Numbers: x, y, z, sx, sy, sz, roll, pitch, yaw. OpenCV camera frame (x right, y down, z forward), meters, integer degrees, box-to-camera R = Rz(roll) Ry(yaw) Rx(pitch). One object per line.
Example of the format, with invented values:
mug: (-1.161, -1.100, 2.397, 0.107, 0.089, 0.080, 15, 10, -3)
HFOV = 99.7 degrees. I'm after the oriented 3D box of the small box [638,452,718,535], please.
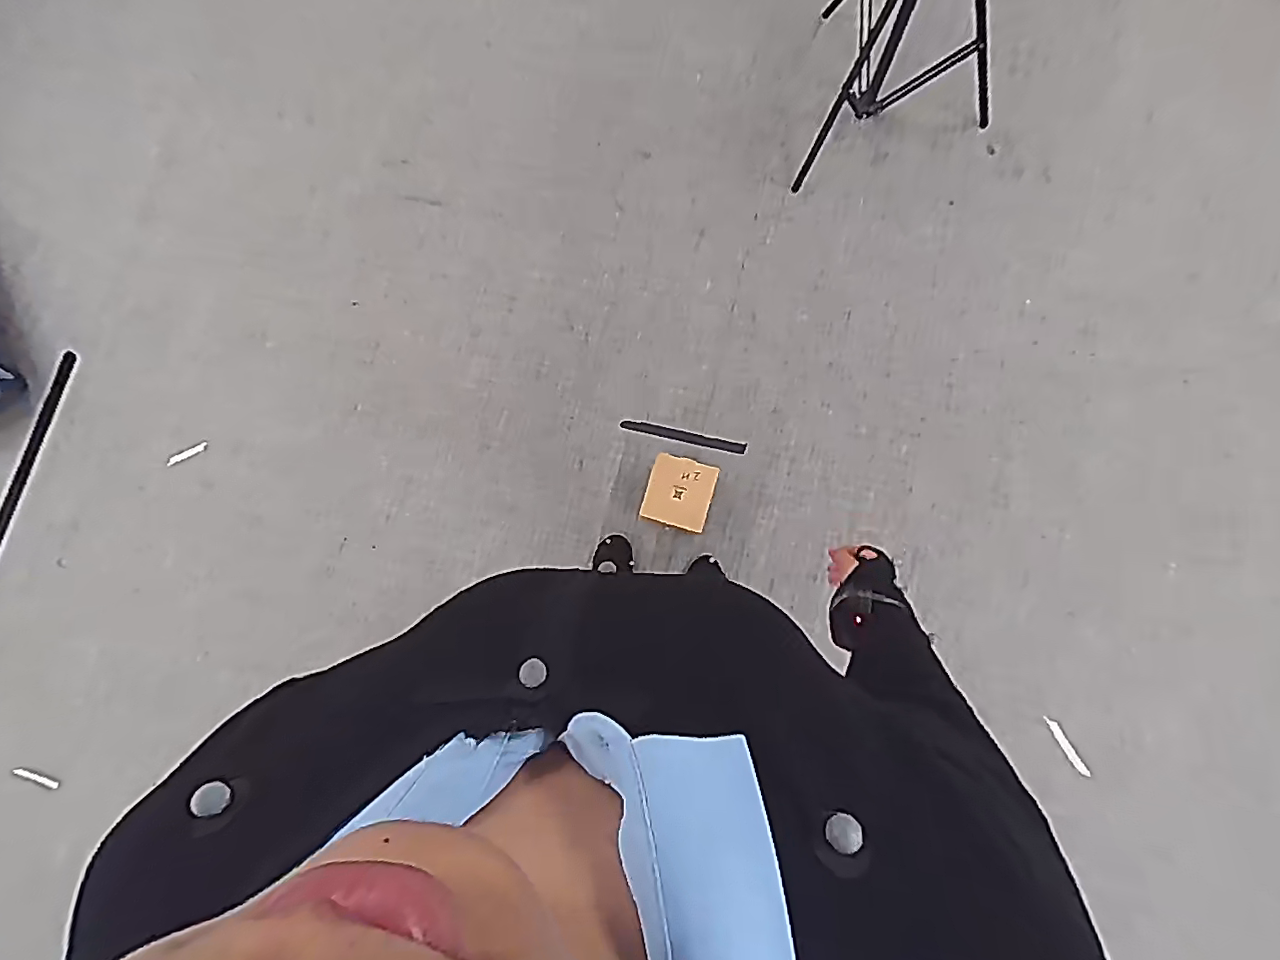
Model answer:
small box: (0.104, 0.044, 1.445, 0.168, 0.176, 0.179, 17, 83, 6)
